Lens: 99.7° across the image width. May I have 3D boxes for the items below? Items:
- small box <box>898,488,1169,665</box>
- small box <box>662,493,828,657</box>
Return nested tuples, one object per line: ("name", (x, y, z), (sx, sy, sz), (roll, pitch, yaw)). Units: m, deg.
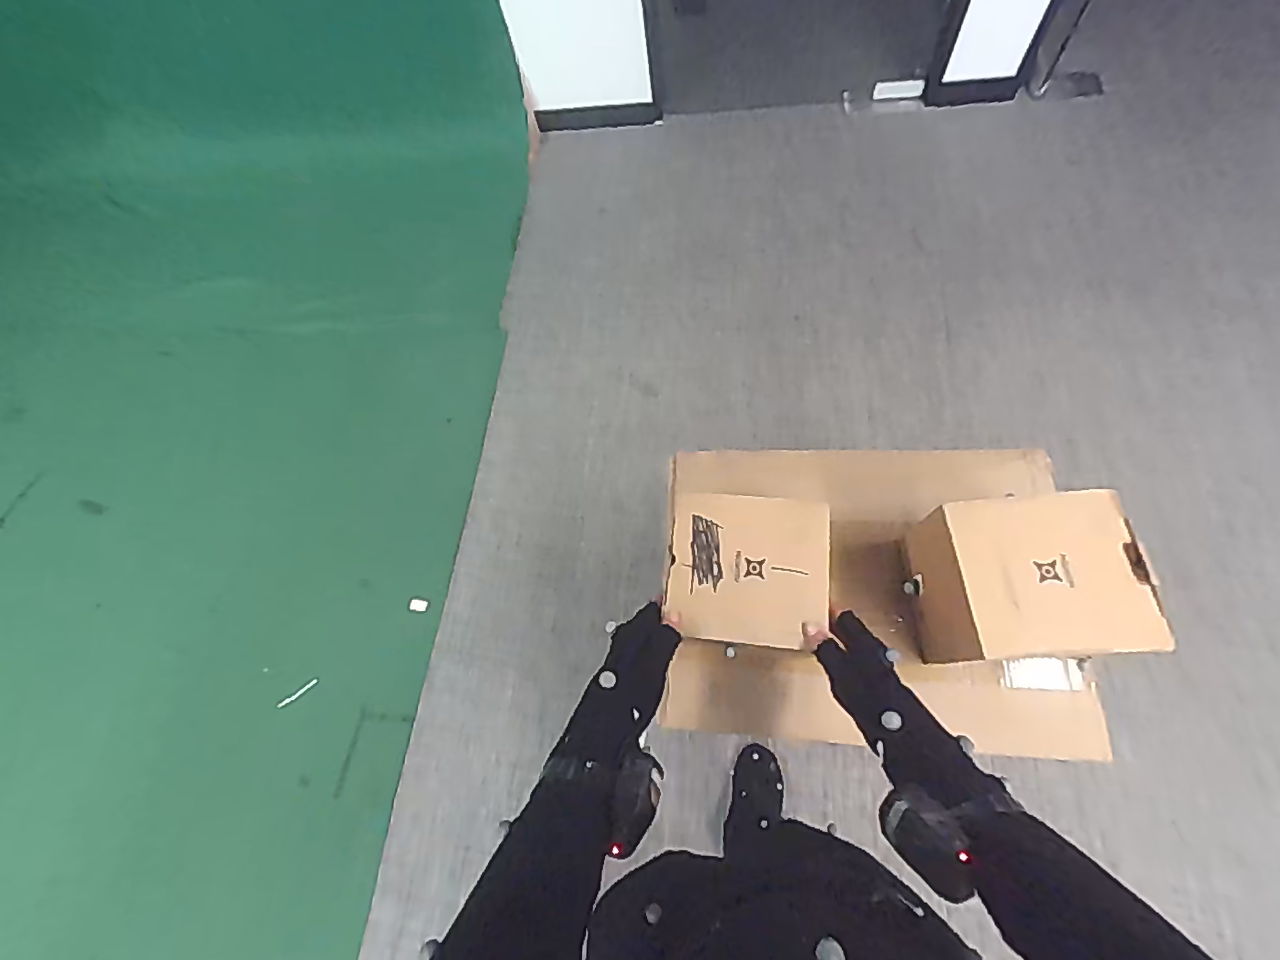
("small box", (0.428, 0.120, 0.626), (0.179, 0.176, 0.168), (-7, 68, 7))
("small box", (0.131, 0.124, 0.672), (0.179, 0.176, 0.168), (3, 70, 10))
